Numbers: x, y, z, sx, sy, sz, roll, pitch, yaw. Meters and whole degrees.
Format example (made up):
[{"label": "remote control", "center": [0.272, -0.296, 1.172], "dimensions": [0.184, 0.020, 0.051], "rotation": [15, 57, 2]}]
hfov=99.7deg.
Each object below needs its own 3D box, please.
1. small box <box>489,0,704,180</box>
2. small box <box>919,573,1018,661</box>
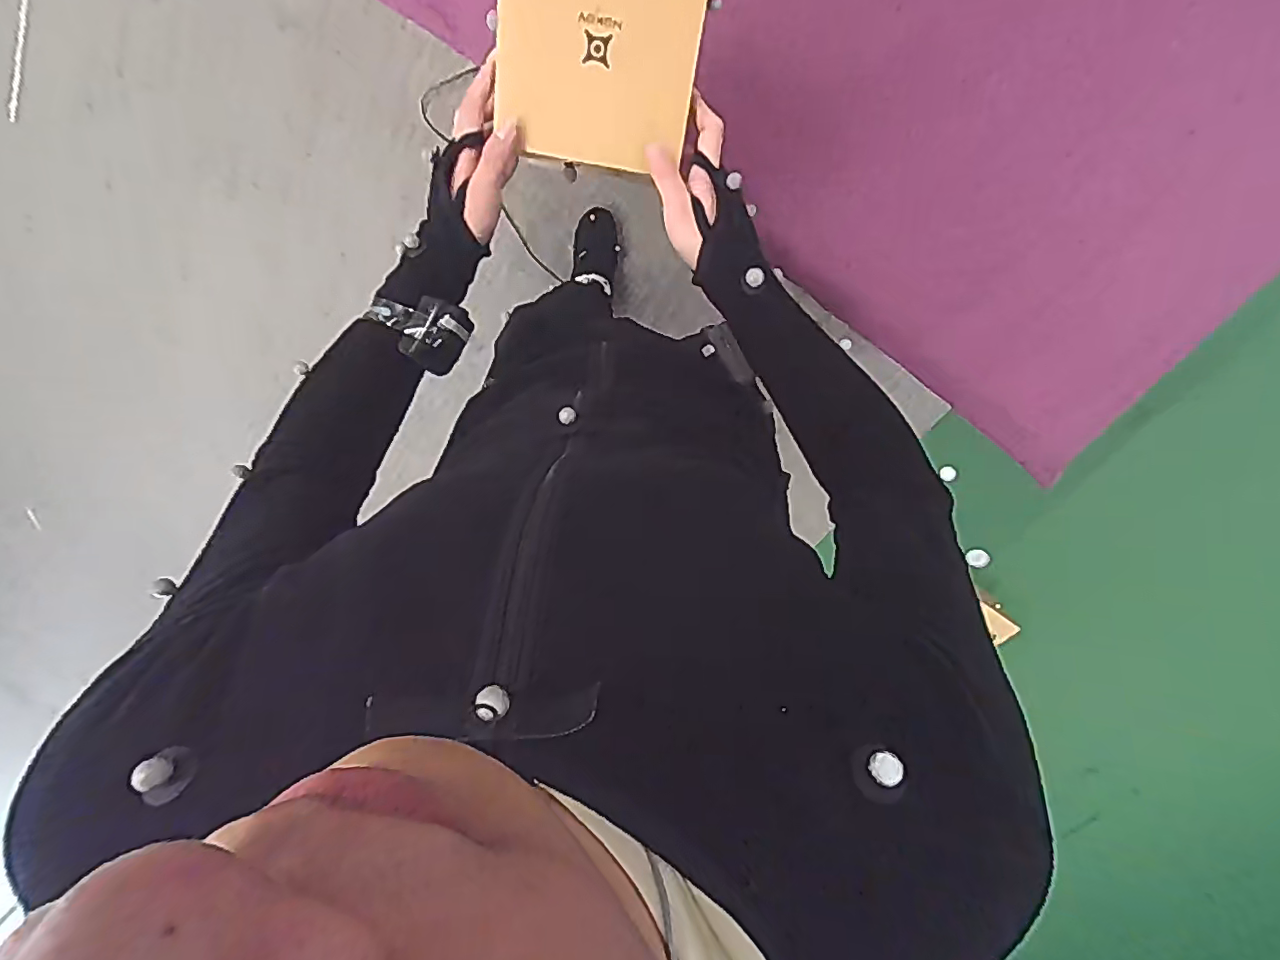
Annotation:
[{"label": "small box", "center": [-0.035, -0.393, 0.506], "dimensions": [0.168, 0.176, 0.179], "rotation": [9, 116, -4]}, {"label": "small box", "center": [1.030, 0.426, 1.710], "dimensions": [0.179, 0.176, 0.168], "rotation": [33, 112, -9]}]
